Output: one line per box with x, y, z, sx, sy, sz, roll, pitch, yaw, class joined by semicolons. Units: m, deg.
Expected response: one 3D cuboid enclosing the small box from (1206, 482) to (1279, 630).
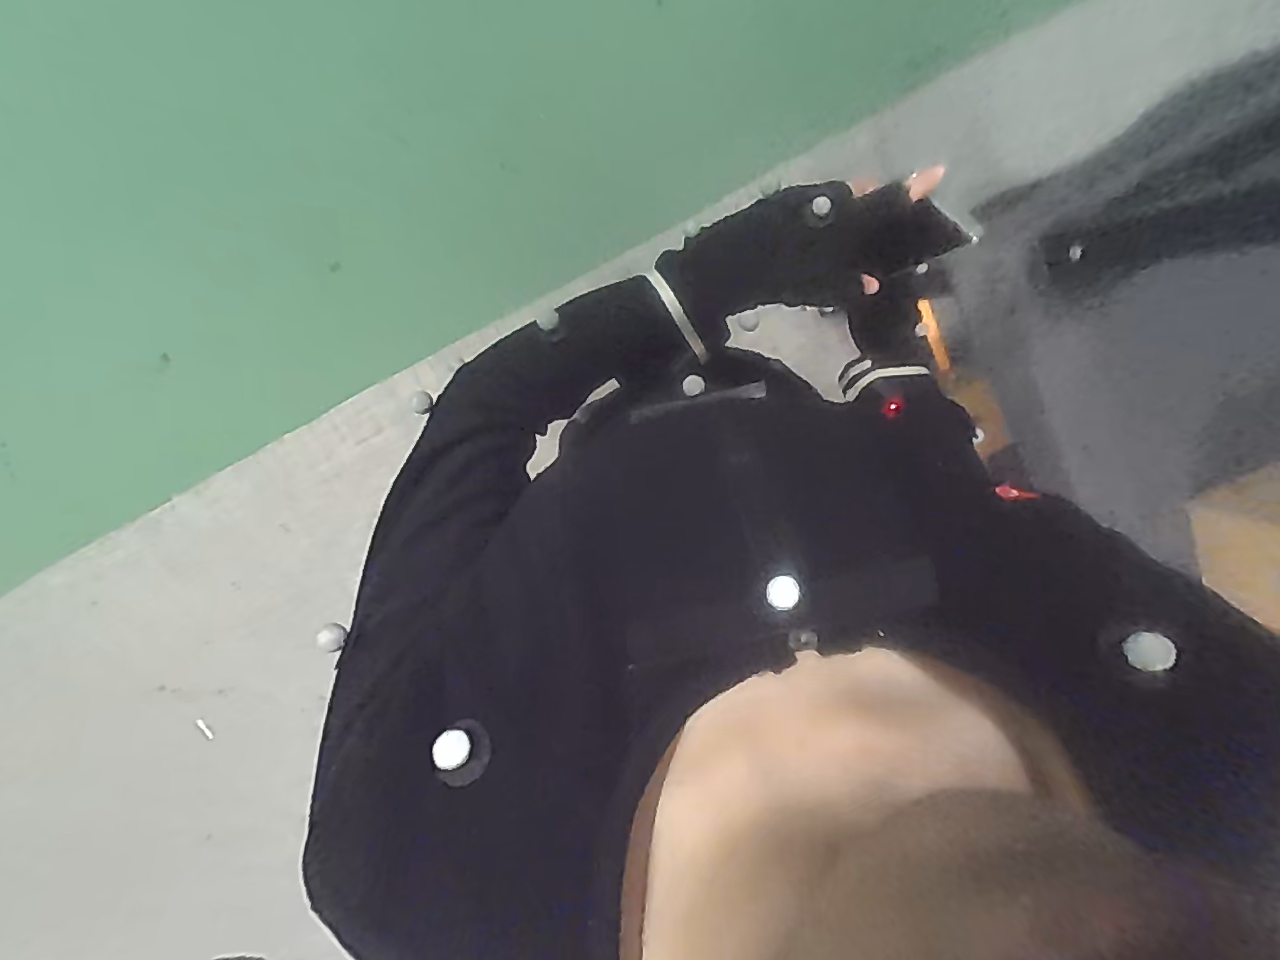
0.900;0.103;0.700;0.168;0.176;0.179;-24;103;4;small box
